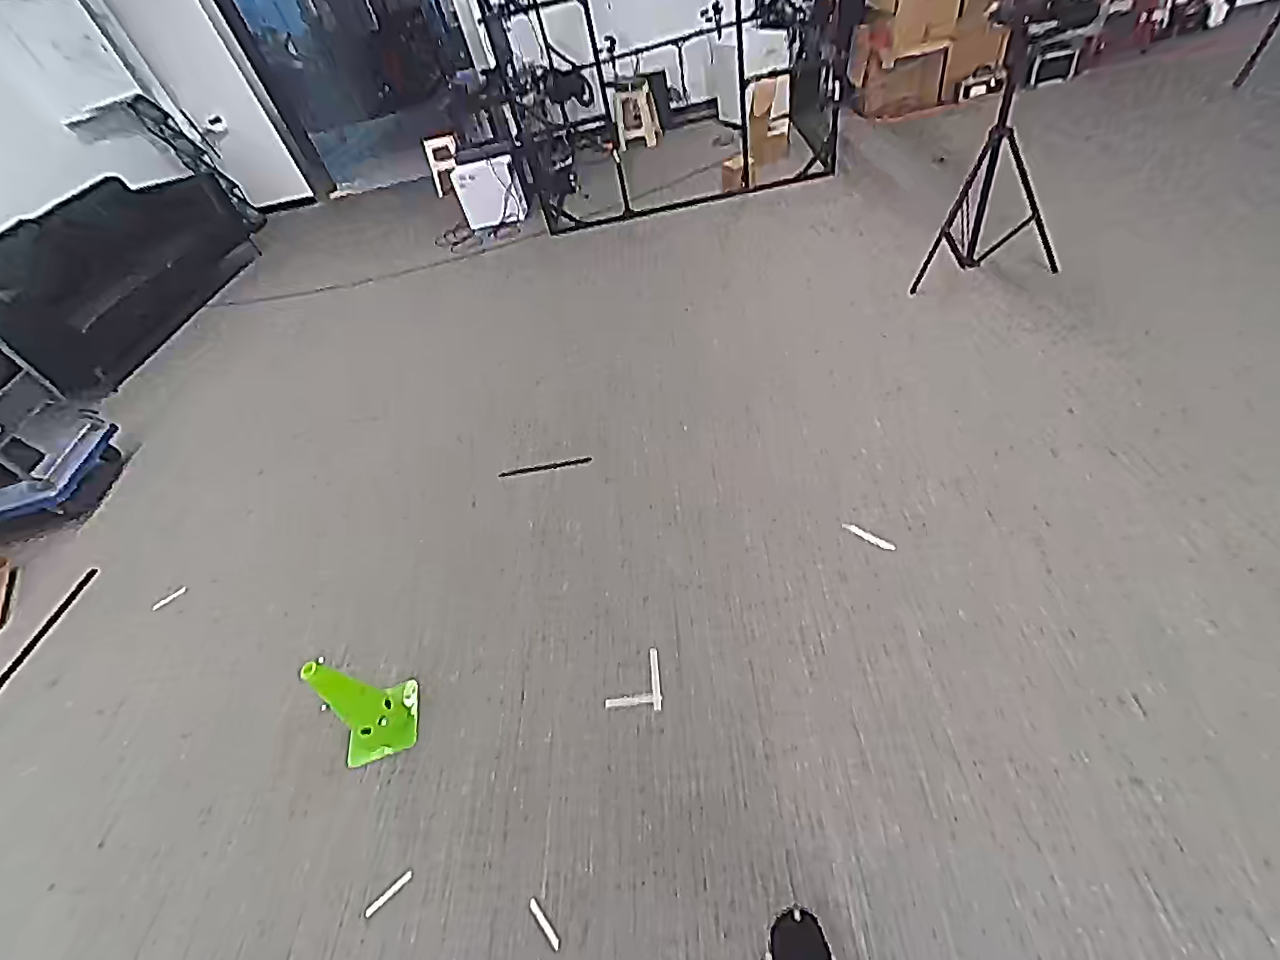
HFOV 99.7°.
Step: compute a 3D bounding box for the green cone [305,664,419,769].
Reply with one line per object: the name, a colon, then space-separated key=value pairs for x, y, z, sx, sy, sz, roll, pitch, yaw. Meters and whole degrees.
green cone: x=-0.773 y=0.596 z=1.448 sx=0.202 sy=0.368 sz=0.200 roll=-19 pitch=45 yaw=-4
